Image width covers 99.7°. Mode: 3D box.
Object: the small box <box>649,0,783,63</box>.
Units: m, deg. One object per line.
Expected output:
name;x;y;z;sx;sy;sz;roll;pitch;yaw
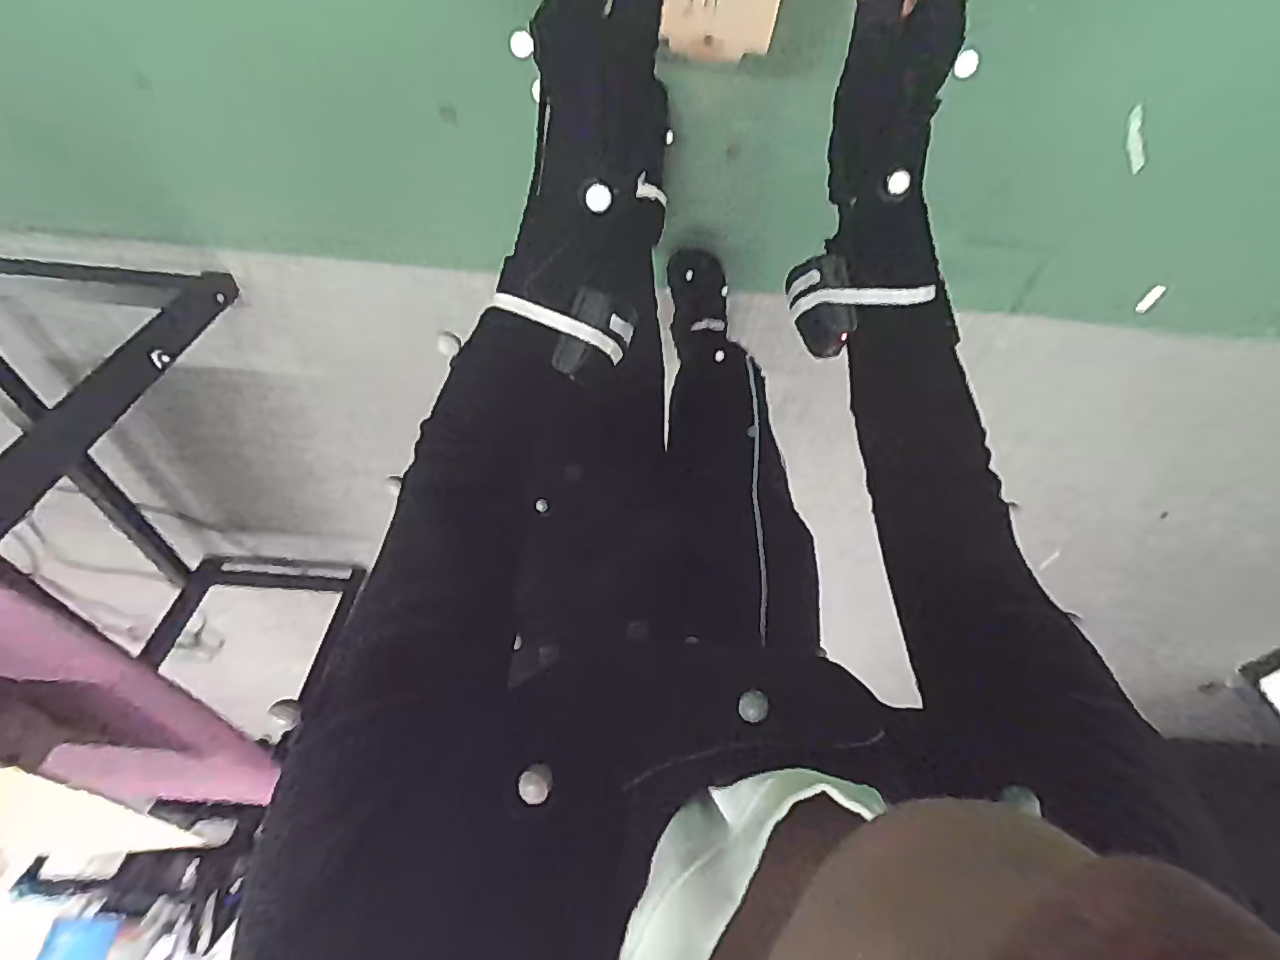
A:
small box;0.104;-0.692;0.721;0.168;0.176;0.179;6;137;-5
